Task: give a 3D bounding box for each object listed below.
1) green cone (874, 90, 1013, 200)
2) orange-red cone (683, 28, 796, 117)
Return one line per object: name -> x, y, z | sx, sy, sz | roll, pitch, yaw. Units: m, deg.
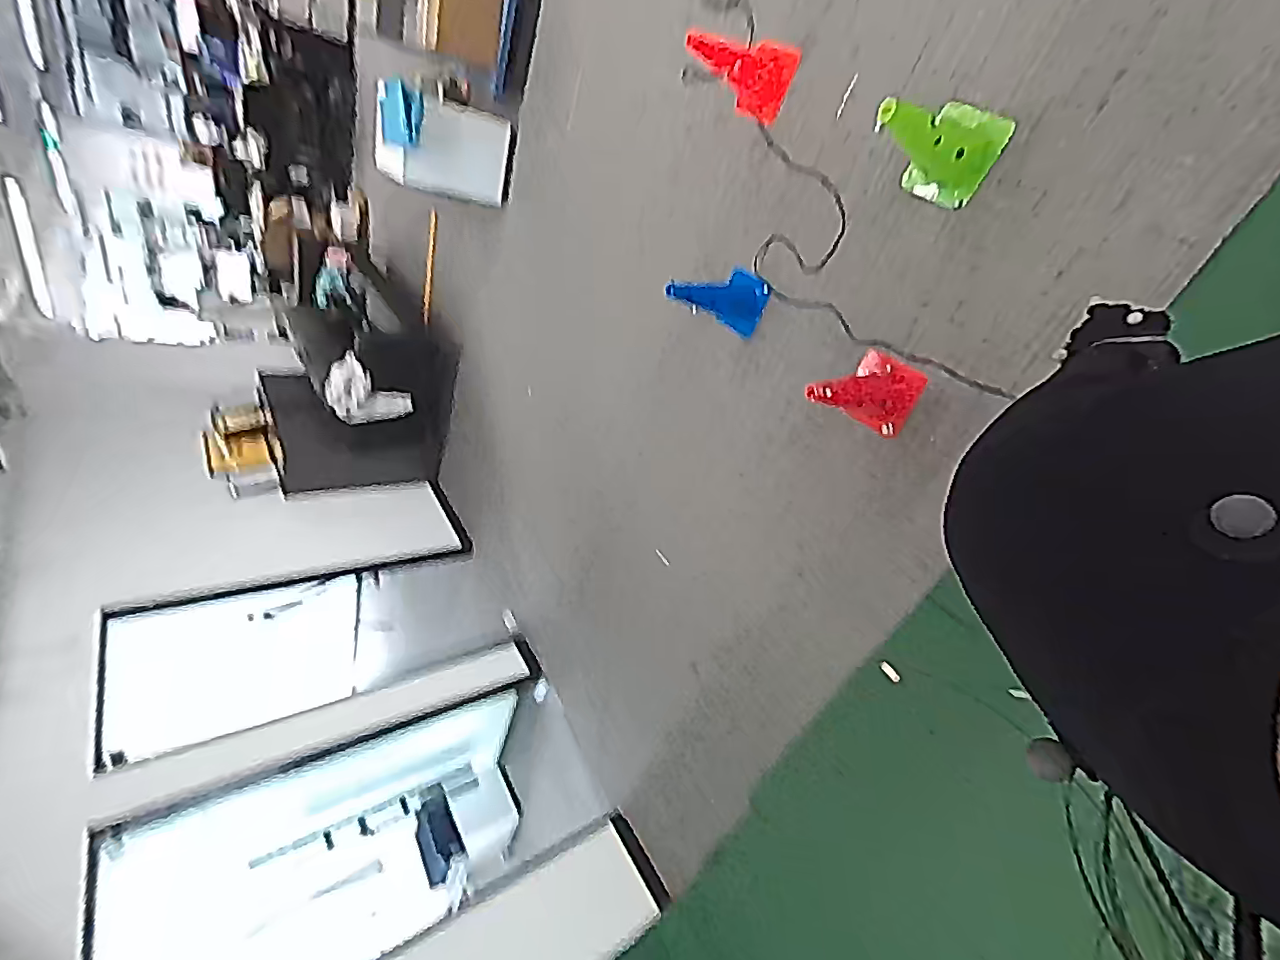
green cone -> 0.656, -0.819, 1.251 | 0.202, 0.368, 0.200 | 51, 131, 35
orange-red cone -> 0.273, -1.295, 1.654 | 0.199, 0.360, 0.198 | 51, 132, 31
